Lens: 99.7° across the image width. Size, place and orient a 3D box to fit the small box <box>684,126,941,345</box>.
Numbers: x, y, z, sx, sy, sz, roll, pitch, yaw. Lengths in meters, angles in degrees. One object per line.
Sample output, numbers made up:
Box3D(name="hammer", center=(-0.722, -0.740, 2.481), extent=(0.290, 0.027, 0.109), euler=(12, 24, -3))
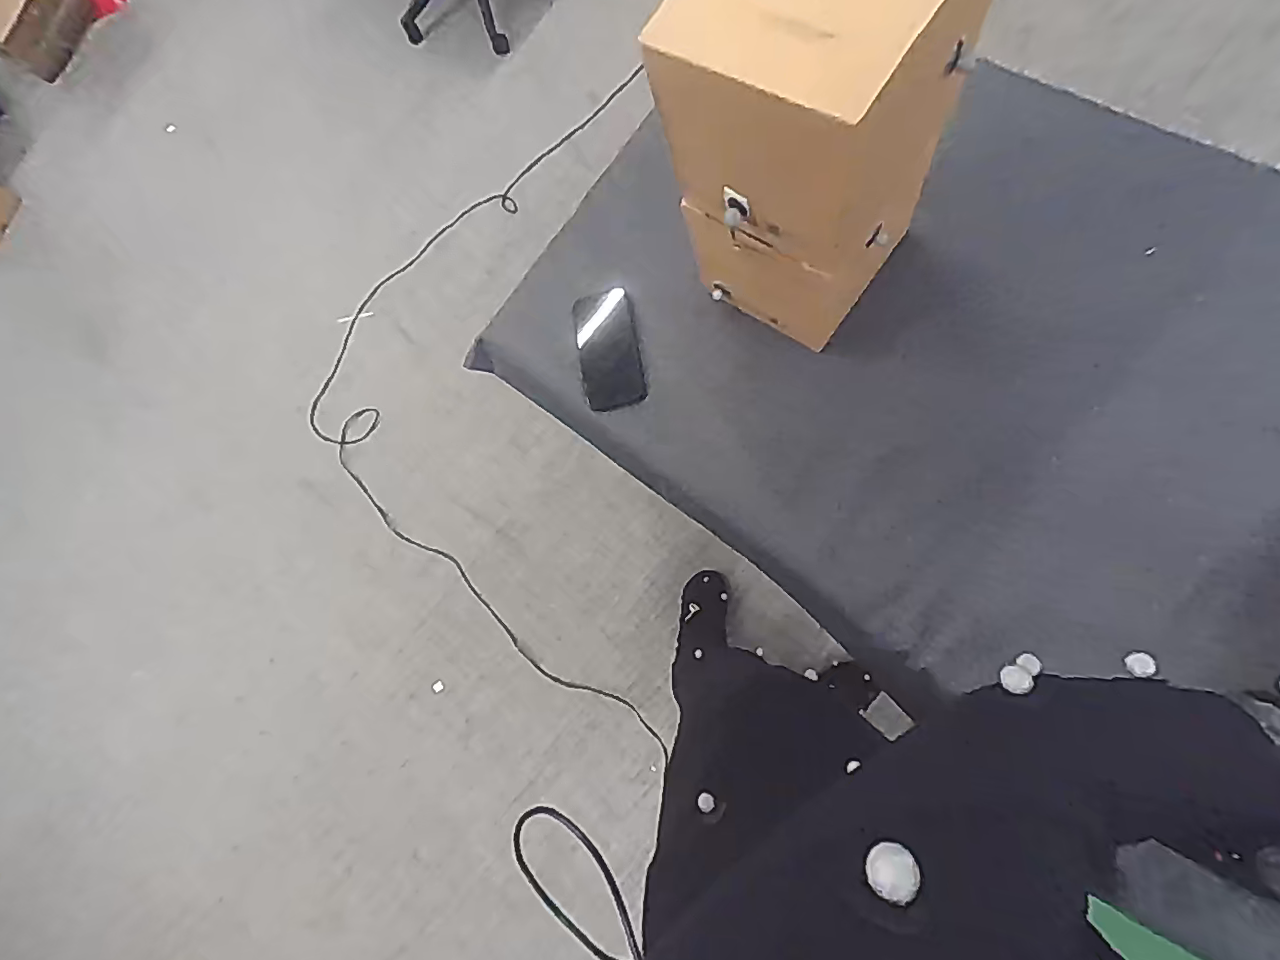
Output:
Box3D(name="small box", center=(0.173, -0.274, 0.570), extent=(0.168, 0.176, 0.179), euler=(36, 90, 17))

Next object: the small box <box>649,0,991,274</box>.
Box3D(name="small box", center=(0.135, -0.300, 0.415), extent=(0.168, 0.176, 0.179), euler=(35, 91, 18))
